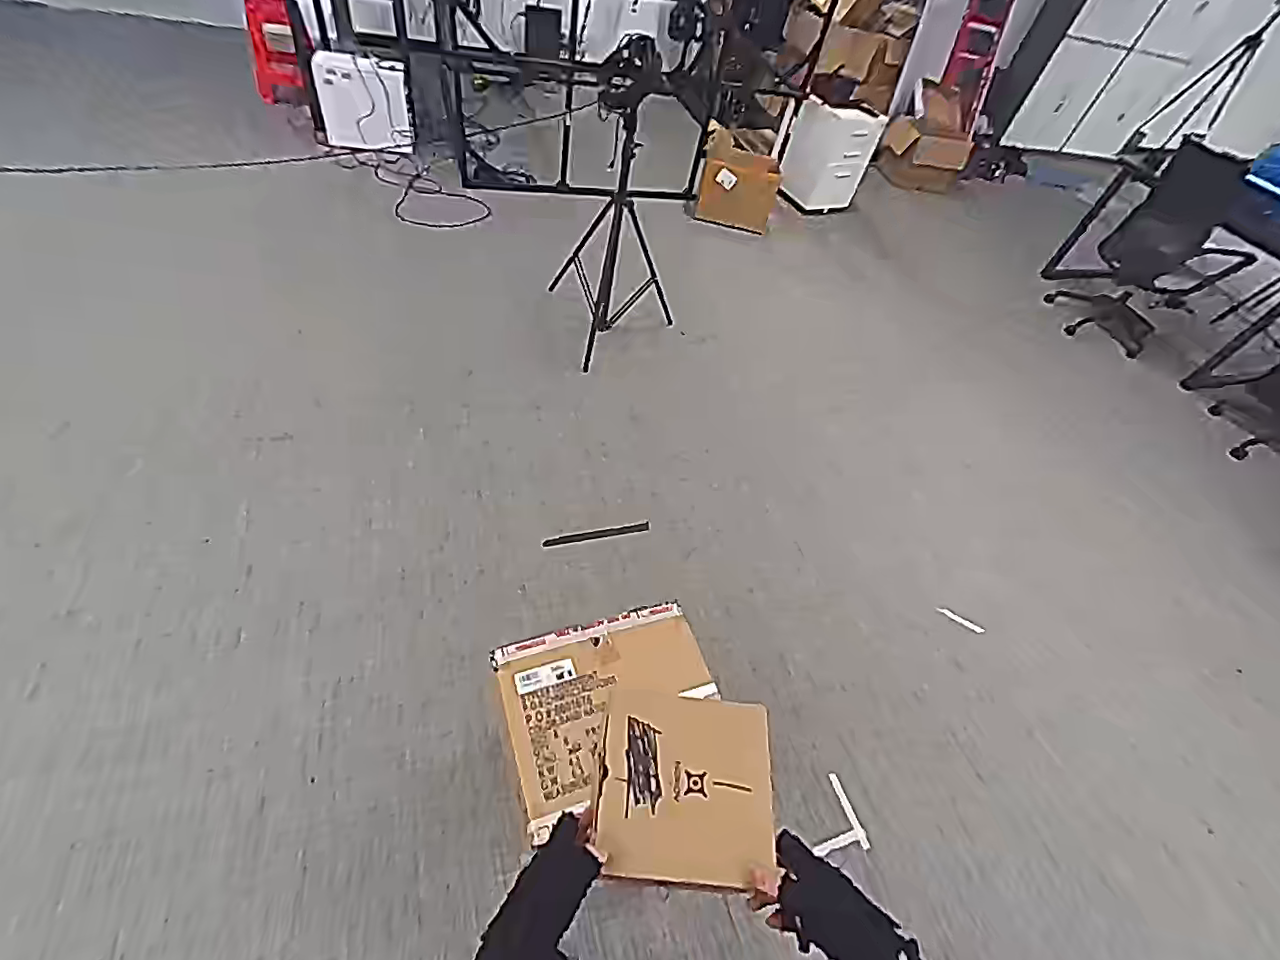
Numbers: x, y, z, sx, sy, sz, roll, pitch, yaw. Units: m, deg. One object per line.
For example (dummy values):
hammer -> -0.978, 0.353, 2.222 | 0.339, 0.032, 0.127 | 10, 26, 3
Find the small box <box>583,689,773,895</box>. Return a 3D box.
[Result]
small box -> 0.034, 0.353, 0.605 | 0.179, 0.176, 0.168 | 8, 50, -3
